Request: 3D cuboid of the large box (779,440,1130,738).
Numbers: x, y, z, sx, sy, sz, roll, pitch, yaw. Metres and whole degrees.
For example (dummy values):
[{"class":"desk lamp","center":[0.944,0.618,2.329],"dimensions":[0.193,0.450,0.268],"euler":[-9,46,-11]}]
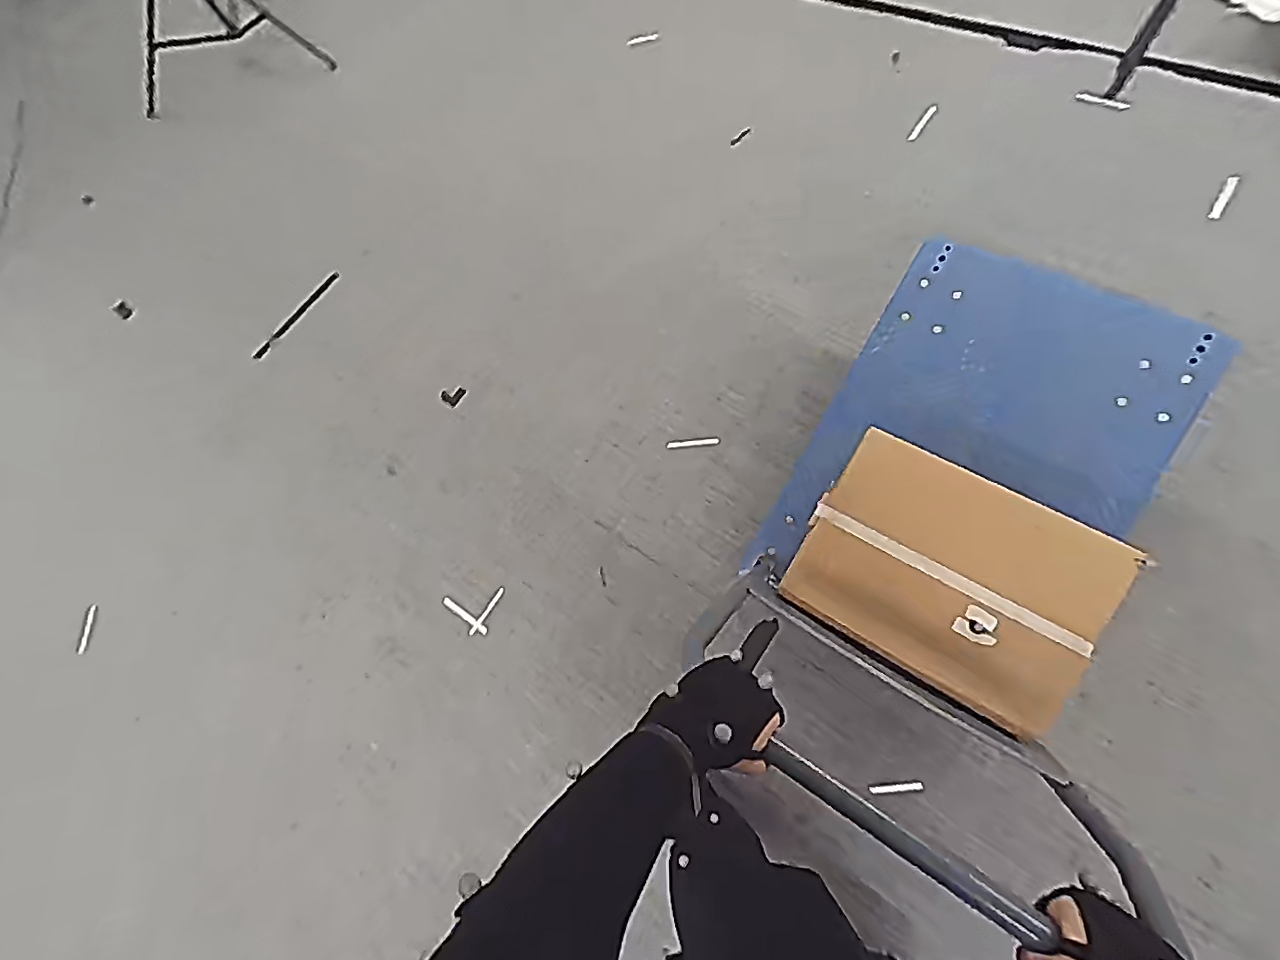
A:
[{"class":"large box","center":[0.504,0.169,0.974],"dimensions":[0.408,0.320,0.320],"euler":[29,93,17]}]
